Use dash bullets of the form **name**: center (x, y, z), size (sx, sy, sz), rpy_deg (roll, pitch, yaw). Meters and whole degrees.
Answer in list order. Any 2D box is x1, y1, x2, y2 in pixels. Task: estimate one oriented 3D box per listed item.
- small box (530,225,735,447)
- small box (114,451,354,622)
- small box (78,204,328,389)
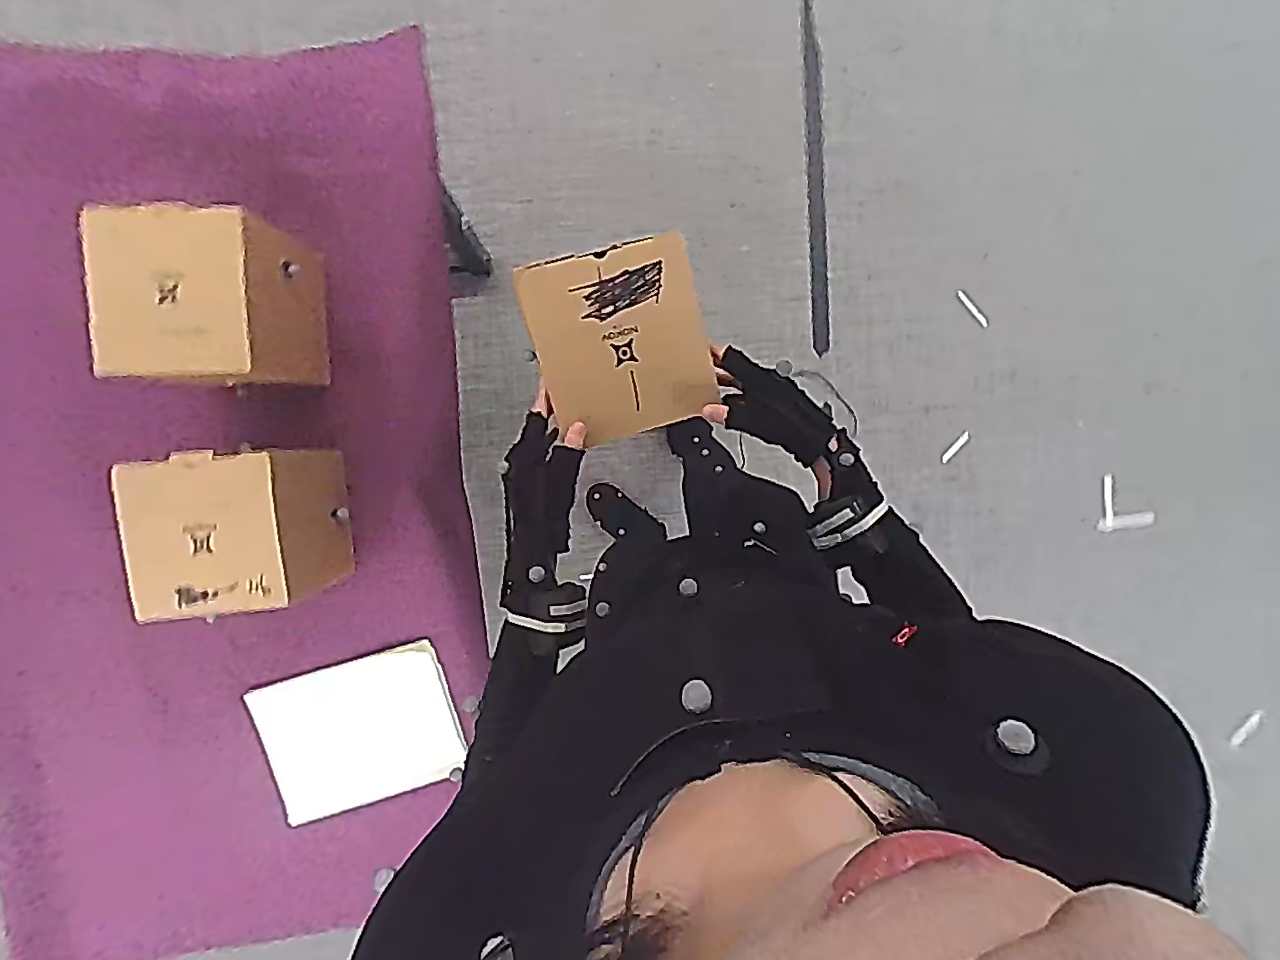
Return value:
- **small box**: center (-0.017, -0.147, 0.581), size (0.168, 0.176, 0.179), rpy_deg (-16, 104, -7)
- **small box**: center (-0.478, 0.059, 0.664), size (0.168, 0.176, 0.179), rpy_deg (-5, 93, -3)
- **small box**: center (-0.502, -0.205, 0.648), size (0.168, 0.176, 0.179), rpy_deg (-1, 95, -2)
